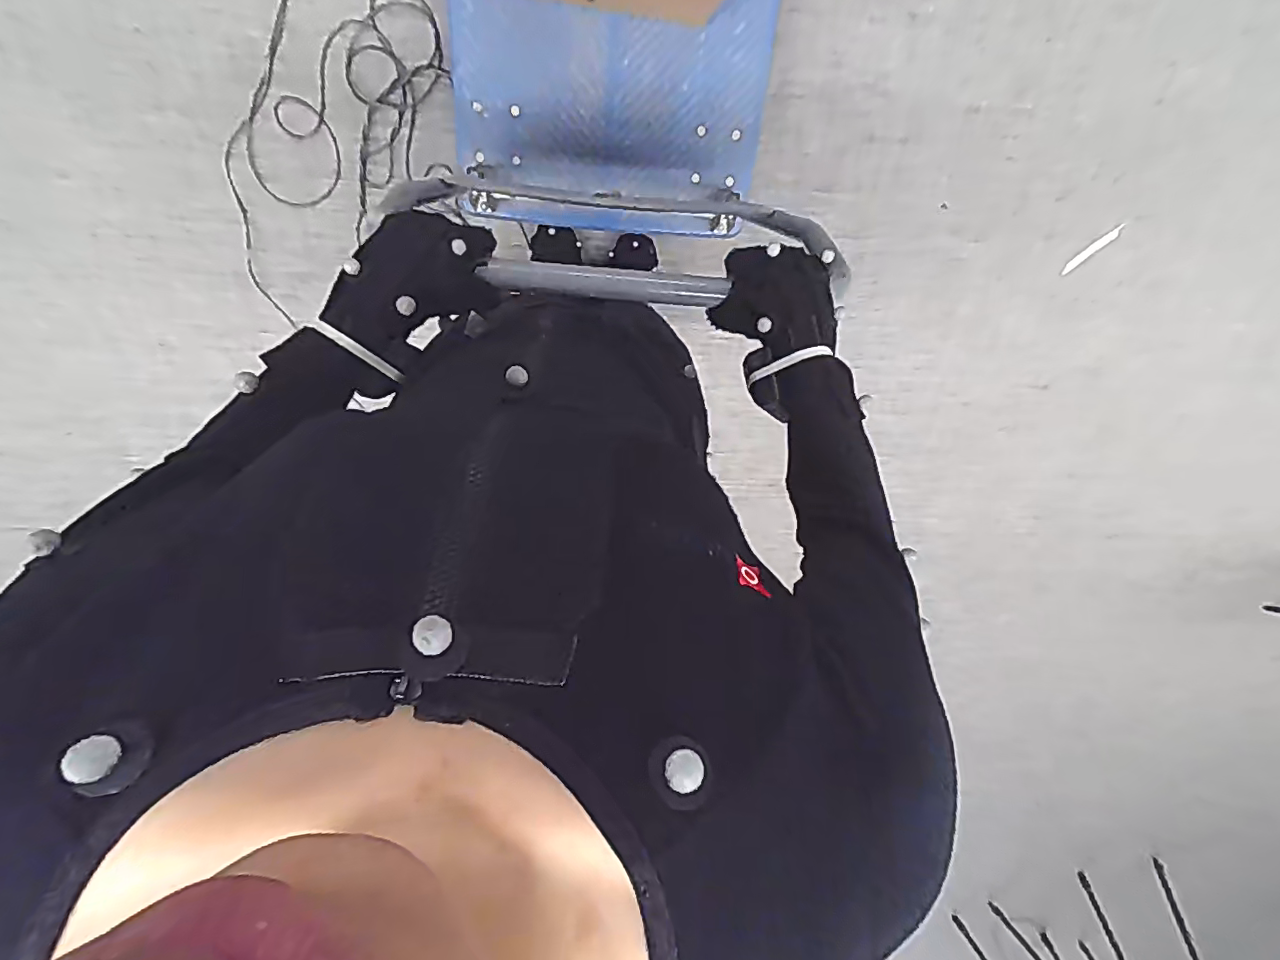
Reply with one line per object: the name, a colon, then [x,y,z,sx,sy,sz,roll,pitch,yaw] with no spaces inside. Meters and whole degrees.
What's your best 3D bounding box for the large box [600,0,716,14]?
large box: [-0.054,-0.893,0.741,0.408,0.320,0.320,4,119,-6]
